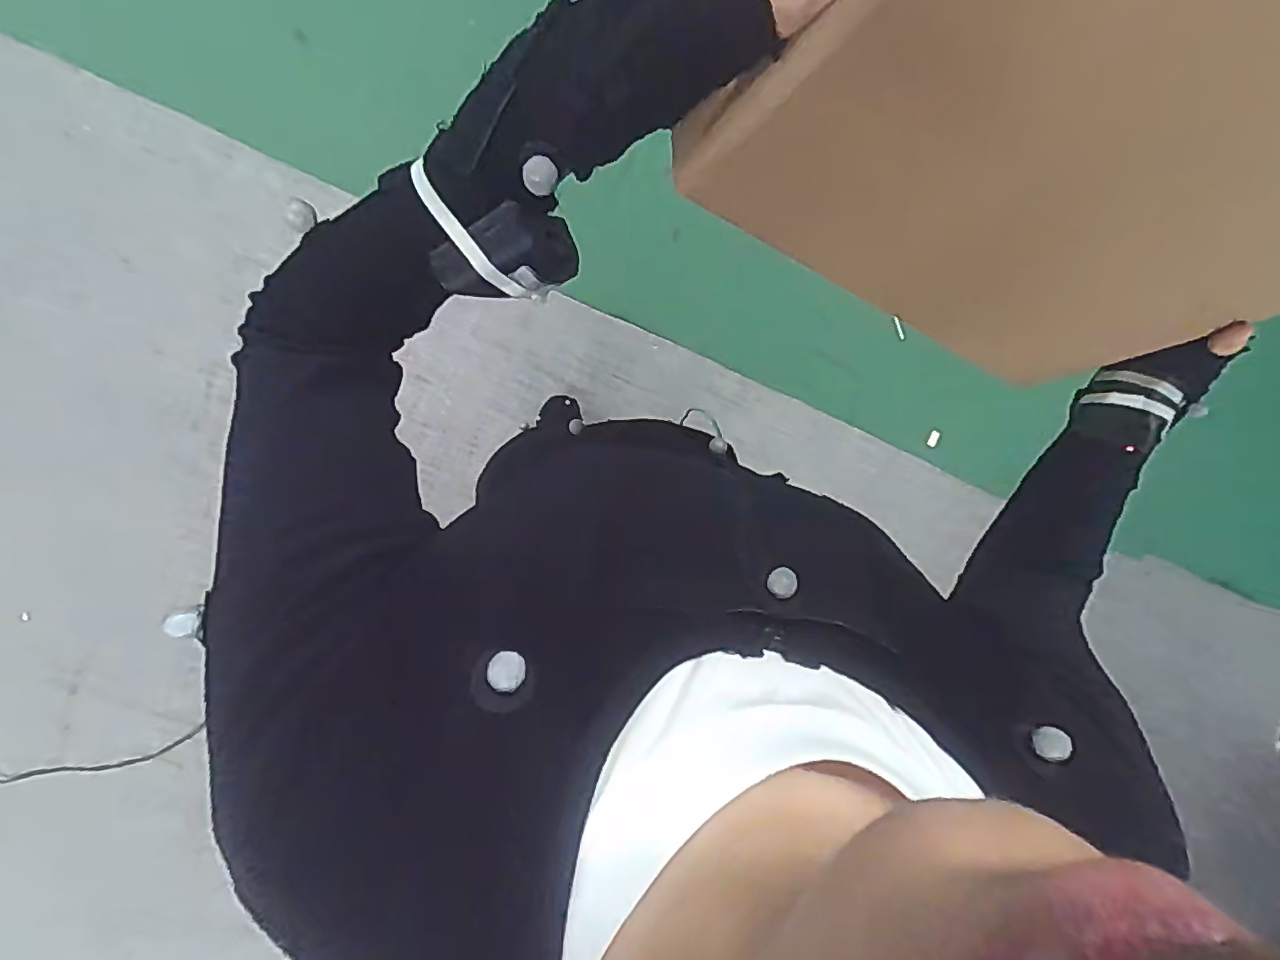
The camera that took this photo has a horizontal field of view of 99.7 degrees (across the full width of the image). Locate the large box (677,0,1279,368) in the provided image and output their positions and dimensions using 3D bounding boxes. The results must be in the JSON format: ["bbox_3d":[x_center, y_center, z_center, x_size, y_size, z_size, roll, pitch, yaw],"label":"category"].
[{"bbox_3d":[0.267,-0.304,0.307,0.408,0.320,0.320,12,73,-33],"label":"large box"}]
